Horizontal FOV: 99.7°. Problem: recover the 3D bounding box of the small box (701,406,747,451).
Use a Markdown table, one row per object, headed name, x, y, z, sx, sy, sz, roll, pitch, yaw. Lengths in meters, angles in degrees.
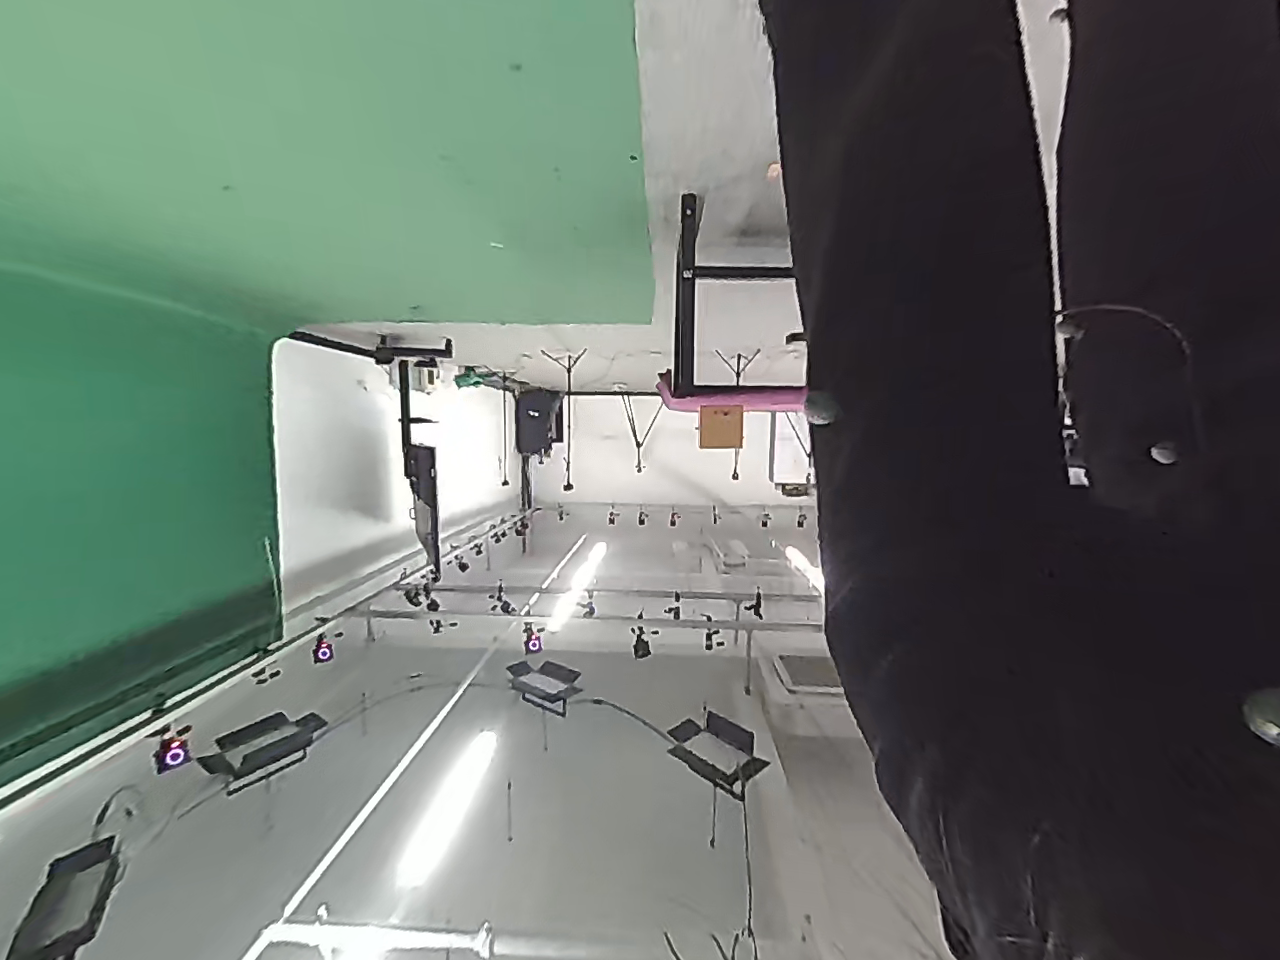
| name | x | y | z | sx | sy | sz | roll | pitch | yaw |
| --- | --- | --- | --- | --- | --- | --- | --- | --- | --- |
| small box | 0.328 | -0.204 | 2.123 | 0.168 | 0.176 | 0.179 | 0 | -174 | 5 |
